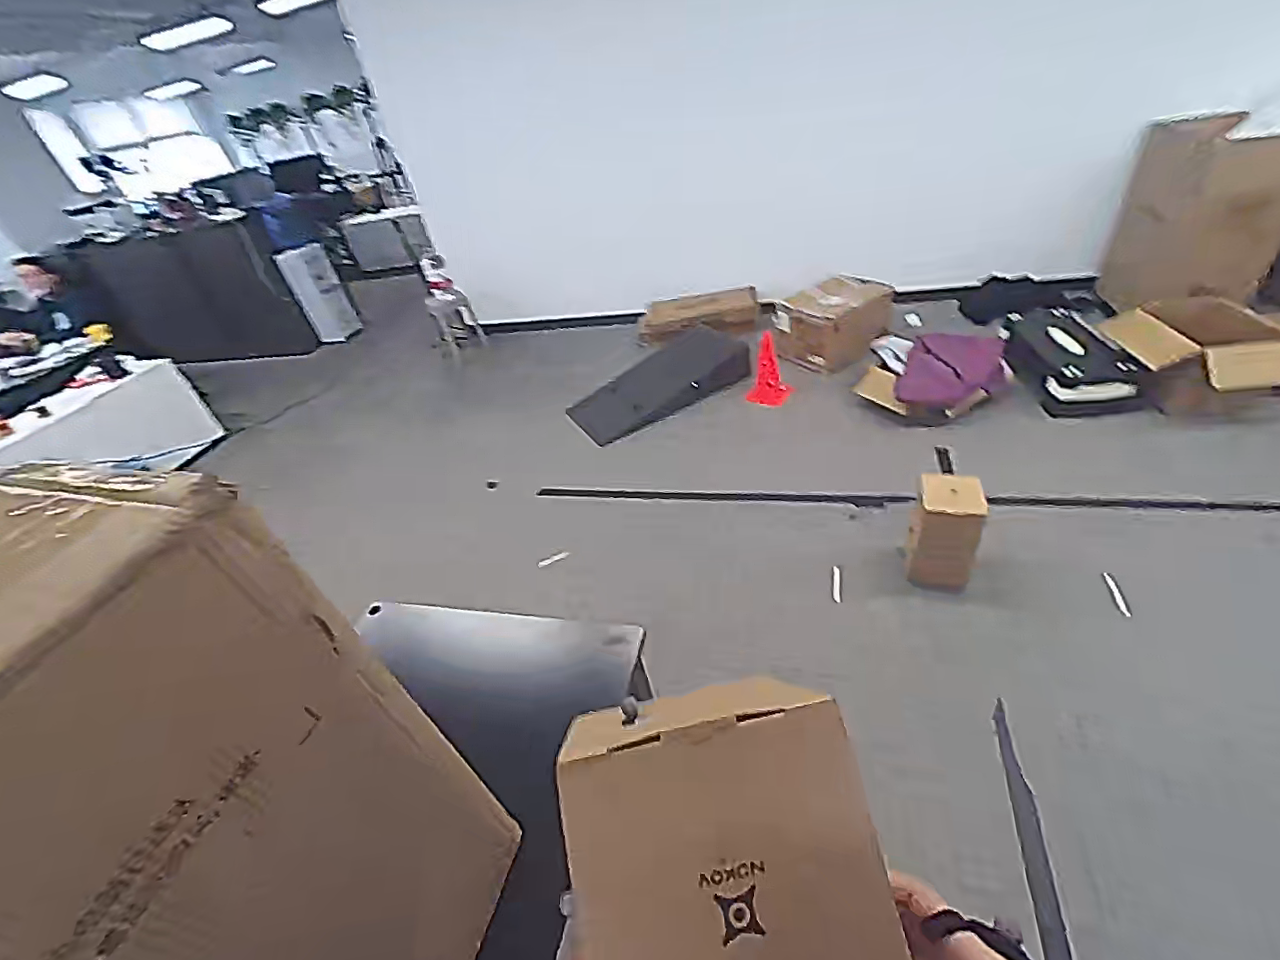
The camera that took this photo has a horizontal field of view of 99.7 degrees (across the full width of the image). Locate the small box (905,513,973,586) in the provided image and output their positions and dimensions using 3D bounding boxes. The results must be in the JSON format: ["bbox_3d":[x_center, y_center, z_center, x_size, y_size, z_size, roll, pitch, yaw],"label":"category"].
[{"bbox_3d":[0.976,0.229,1.782,0.179,0.176,0.168,4,41,20],"label":"small box"}]

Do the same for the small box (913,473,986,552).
[{"bbox_3d":[0.955,0.099,1.683,0.168,0.176,0.179,4,41,21],"label":"small box"}]
